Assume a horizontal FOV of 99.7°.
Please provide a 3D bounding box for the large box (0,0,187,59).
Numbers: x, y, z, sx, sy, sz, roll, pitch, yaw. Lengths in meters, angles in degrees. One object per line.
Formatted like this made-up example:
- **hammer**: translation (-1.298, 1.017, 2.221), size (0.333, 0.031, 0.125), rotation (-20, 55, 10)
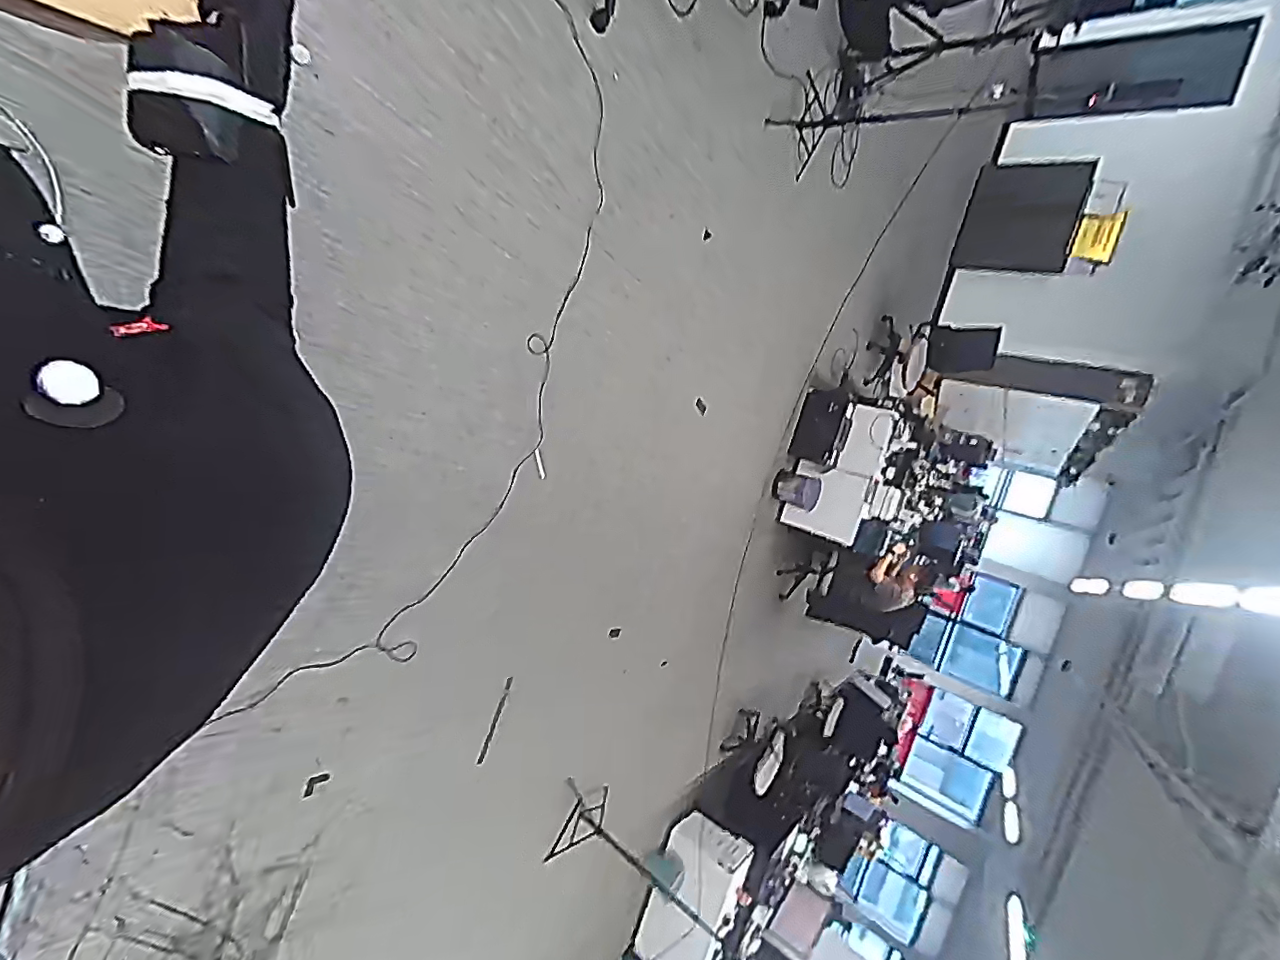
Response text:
- **large box**: translation (-0.501, -0.453, 0.227), size (0.408, 0.320, 0.320), rotation (-14, 129, -53)
